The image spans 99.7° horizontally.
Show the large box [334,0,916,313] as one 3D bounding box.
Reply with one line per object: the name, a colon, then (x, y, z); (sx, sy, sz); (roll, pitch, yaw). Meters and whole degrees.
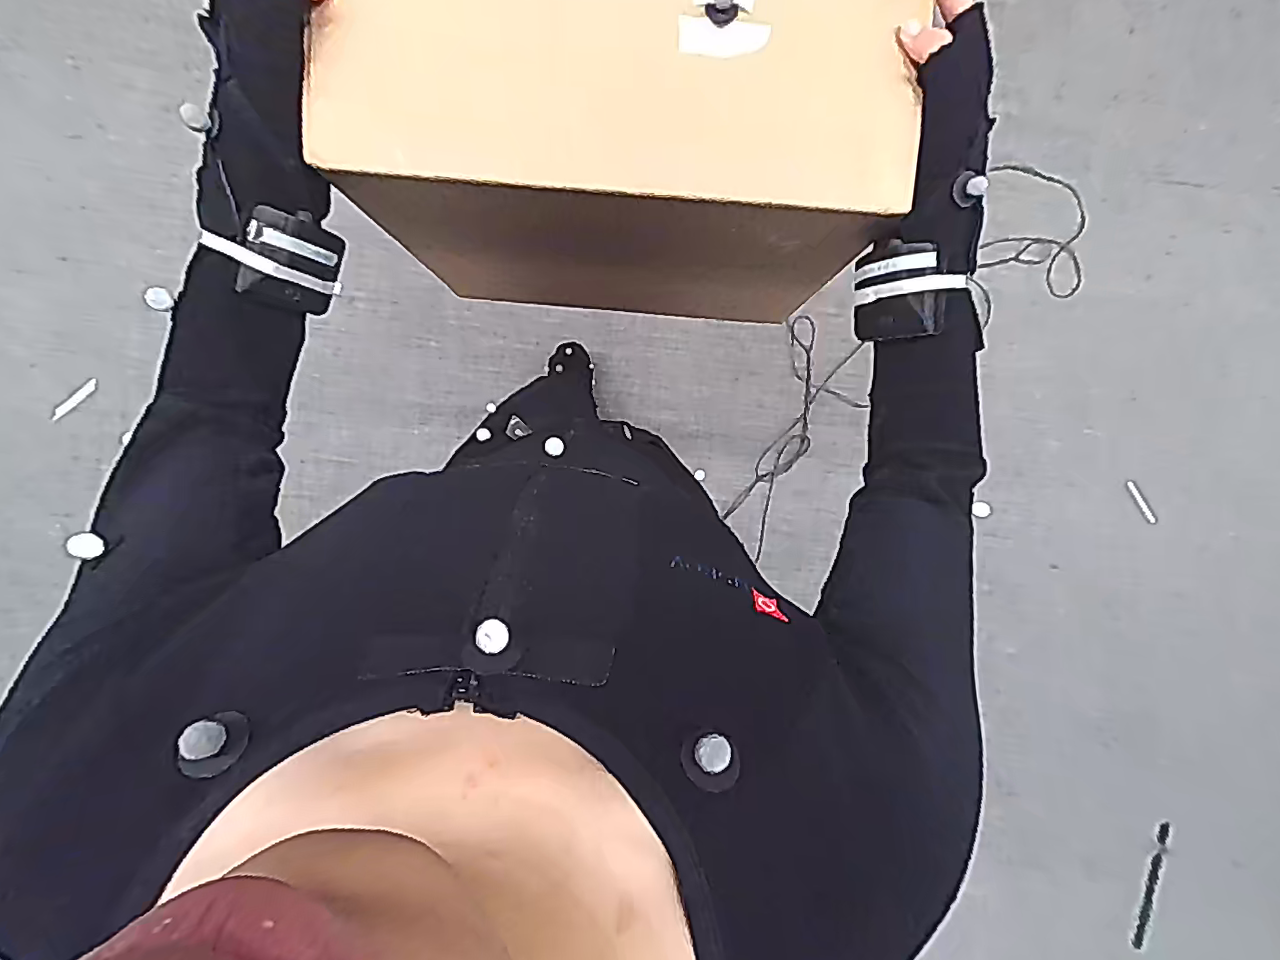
large box: (-0.009, -0.363, 0.519); (0.408, 0.320, 0.320); (4, 93, -1)
